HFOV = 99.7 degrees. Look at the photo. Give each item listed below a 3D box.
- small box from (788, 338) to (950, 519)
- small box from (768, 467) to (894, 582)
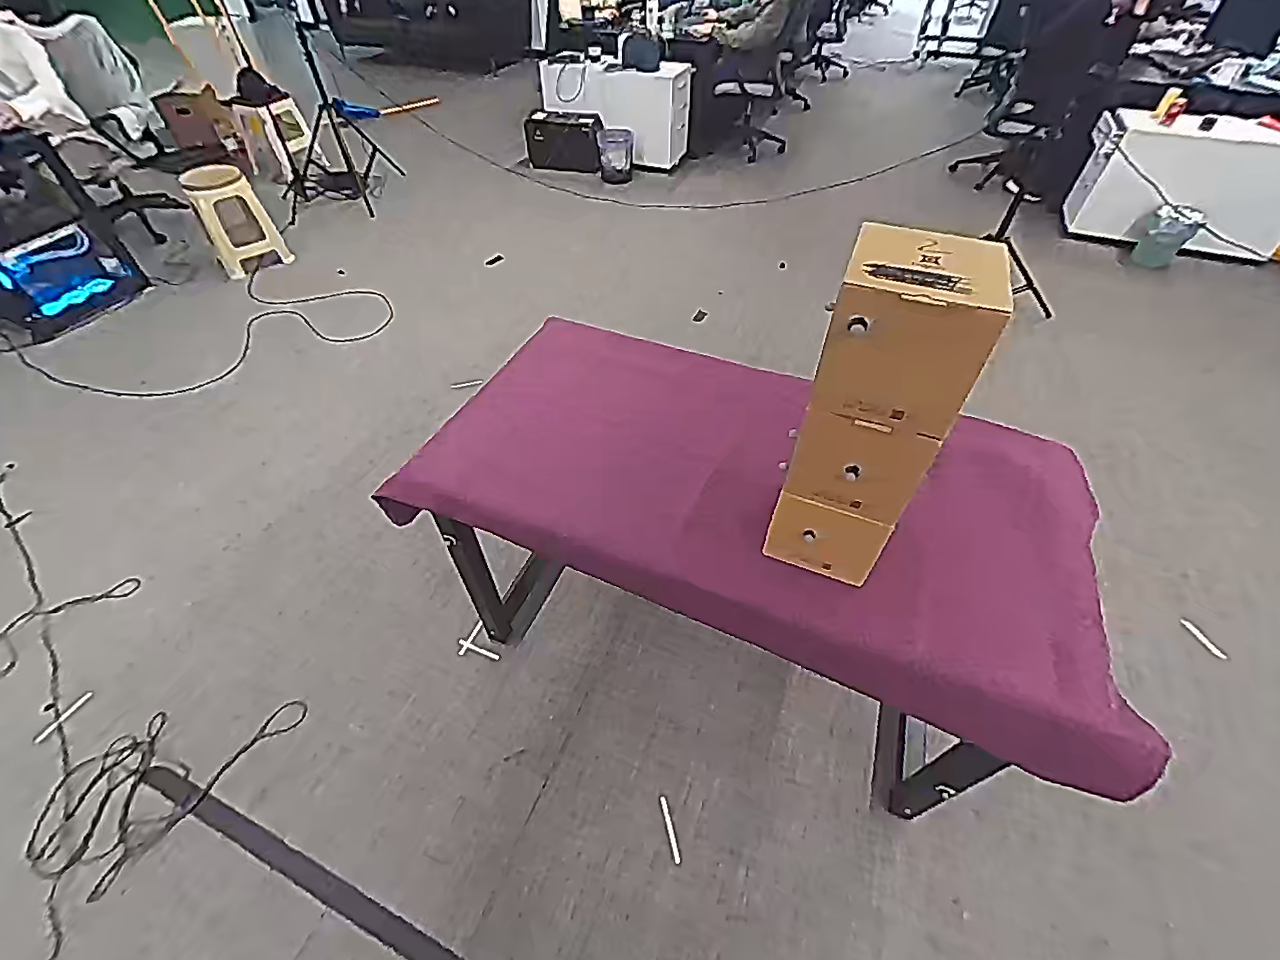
[{"bbox_3d":[0.322,-0.072,0.780,0.168,0.176,0.179,18,51,16],"label":"small box"},{"bbox_3d":[0.319,0.041,0.899,0.168,0.176,0.179,17,50,15],"label":"small box"}]
